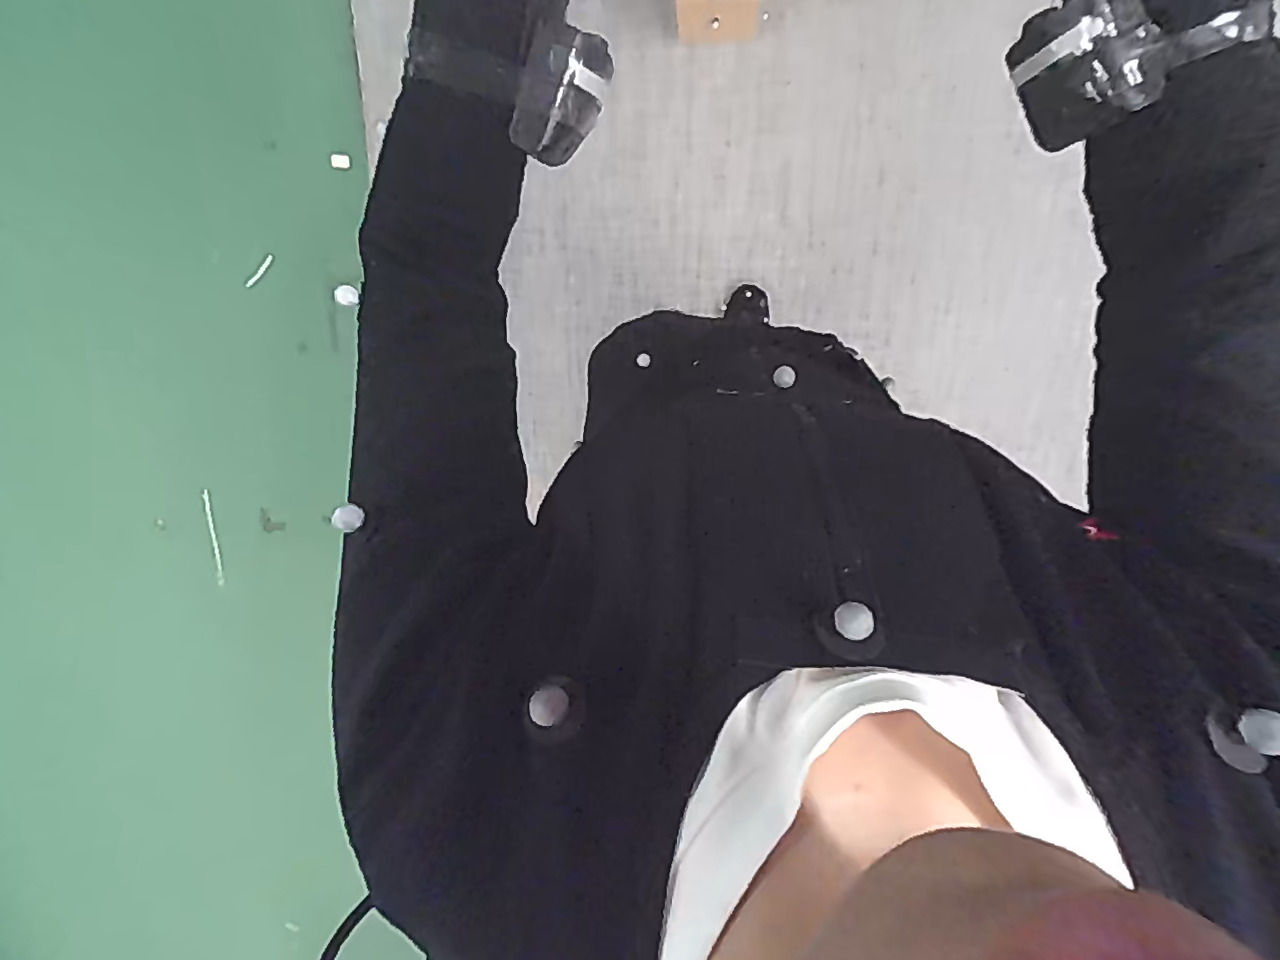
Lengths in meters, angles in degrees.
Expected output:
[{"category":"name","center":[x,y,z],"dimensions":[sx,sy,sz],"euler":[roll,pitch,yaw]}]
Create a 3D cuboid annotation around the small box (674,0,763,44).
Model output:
[{"category":"small box","center":[0.165,-1.029,1.105],"dimensions":[0.179,0.176,0.168],"euler":[4,105,7]}]
